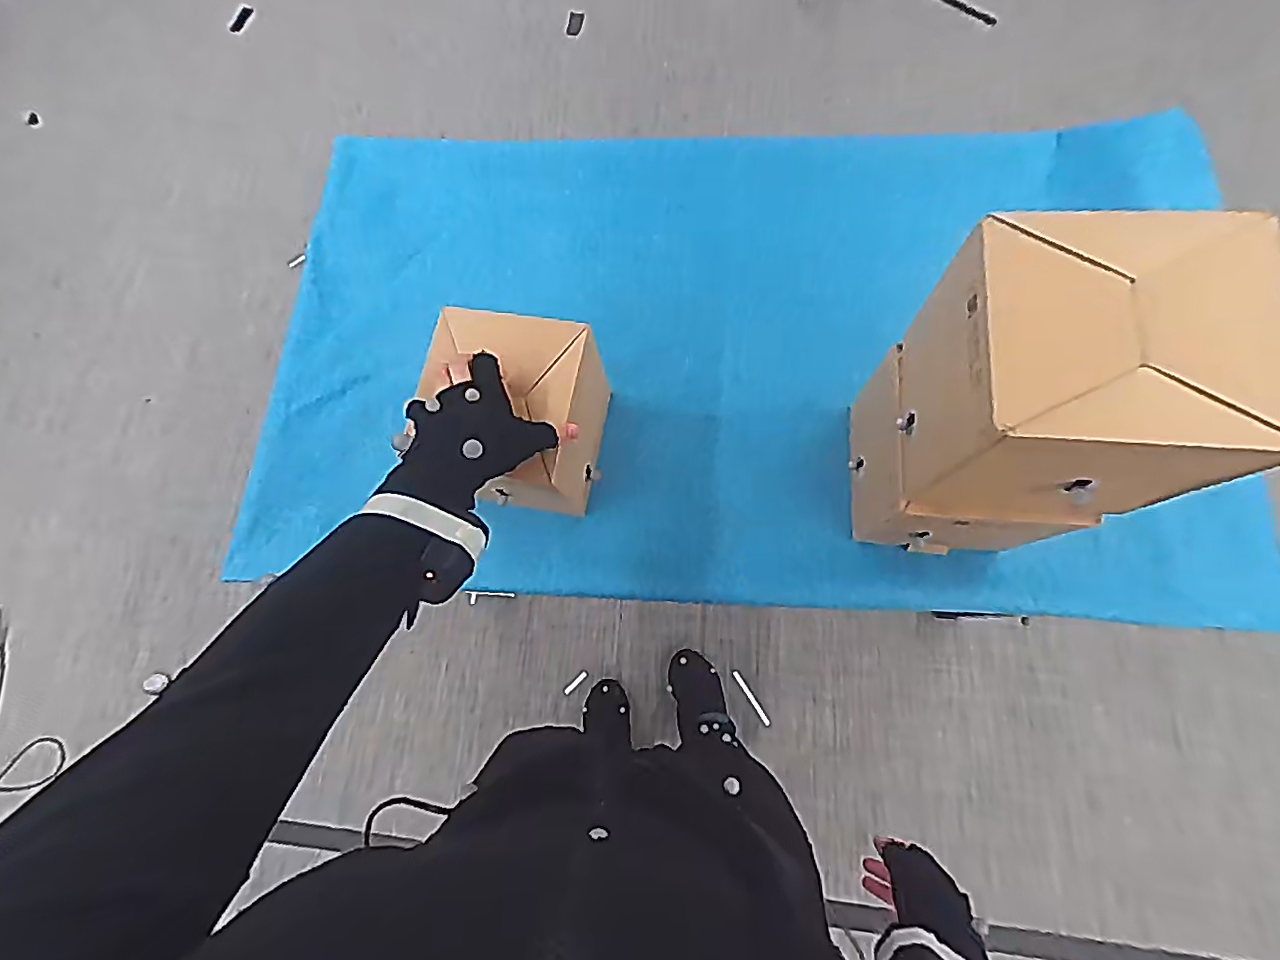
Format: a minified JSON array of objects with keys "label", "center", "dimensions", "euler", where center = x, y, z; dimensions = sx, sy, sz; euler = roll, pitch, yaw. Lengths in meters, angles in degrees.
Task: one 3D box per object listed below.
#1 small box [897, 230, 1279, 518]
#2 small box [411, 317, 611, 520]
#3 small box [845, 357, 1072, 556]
[{"label":"small box","center":[0.319,-0.071,0.422],"dimensions":[0.179,0.176,0.168],"euler":[4,73,9]},{"label":"small box","center":[-0.139,-0.064,0.632],"dimensions":[0.168,0.176,0.179],"euler":[9,76,7]},{"label":"small box","center":[0.328,-0.022,0.578],"dimensions":[0.168,0.176,0.179],"euler":[3,74,6]}]
